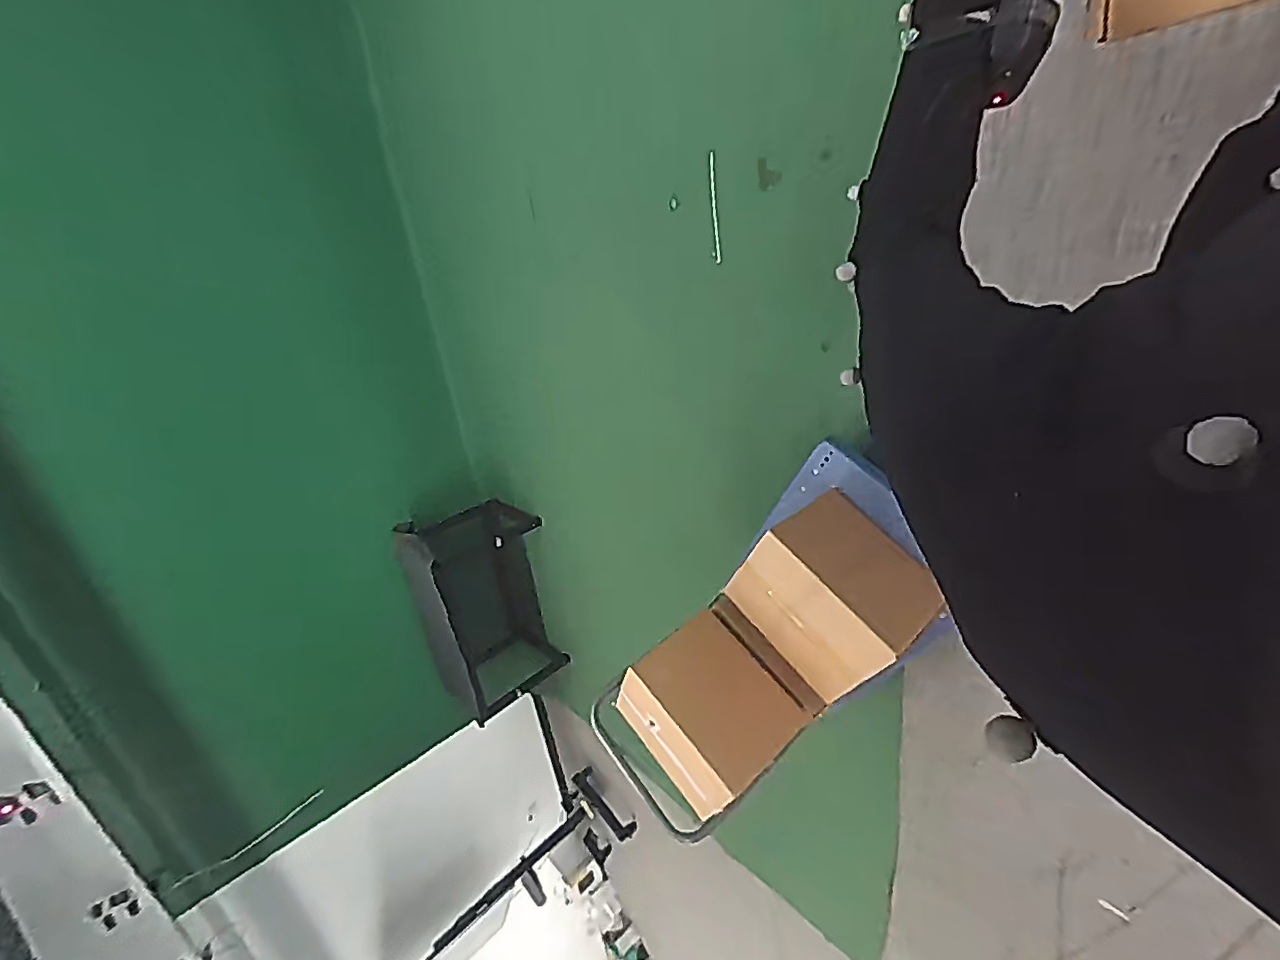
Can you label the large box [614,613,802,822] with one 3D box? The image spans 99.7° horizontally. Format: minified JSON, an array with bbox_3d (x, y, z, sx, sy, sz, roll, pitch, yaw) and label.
[{"bbox_3d":[0.178,0.670,1.551,0.408,0.320,0.320,46,145,26],"label":"large box"}]
